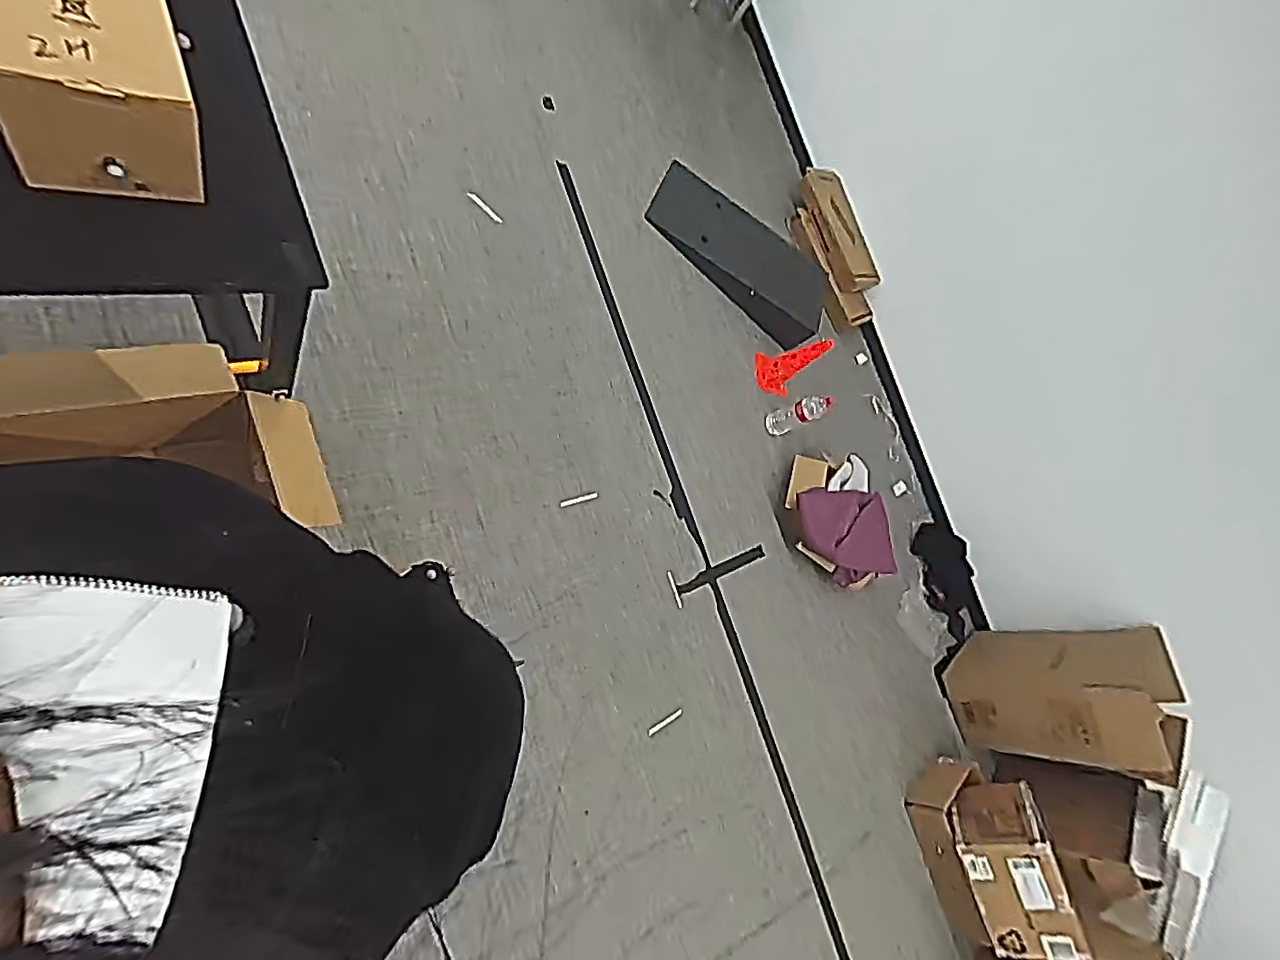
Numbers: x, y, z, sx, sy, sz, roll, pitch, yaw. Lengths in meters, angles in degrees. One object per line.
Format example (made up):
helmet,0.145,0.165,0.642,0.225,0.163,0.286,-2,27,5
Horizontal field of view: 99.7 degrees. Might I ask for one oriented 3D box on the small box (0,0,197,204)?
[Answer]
small box,-0.636,-0.458,0.622,0.168,0.176,0.179,-15,84,-38
